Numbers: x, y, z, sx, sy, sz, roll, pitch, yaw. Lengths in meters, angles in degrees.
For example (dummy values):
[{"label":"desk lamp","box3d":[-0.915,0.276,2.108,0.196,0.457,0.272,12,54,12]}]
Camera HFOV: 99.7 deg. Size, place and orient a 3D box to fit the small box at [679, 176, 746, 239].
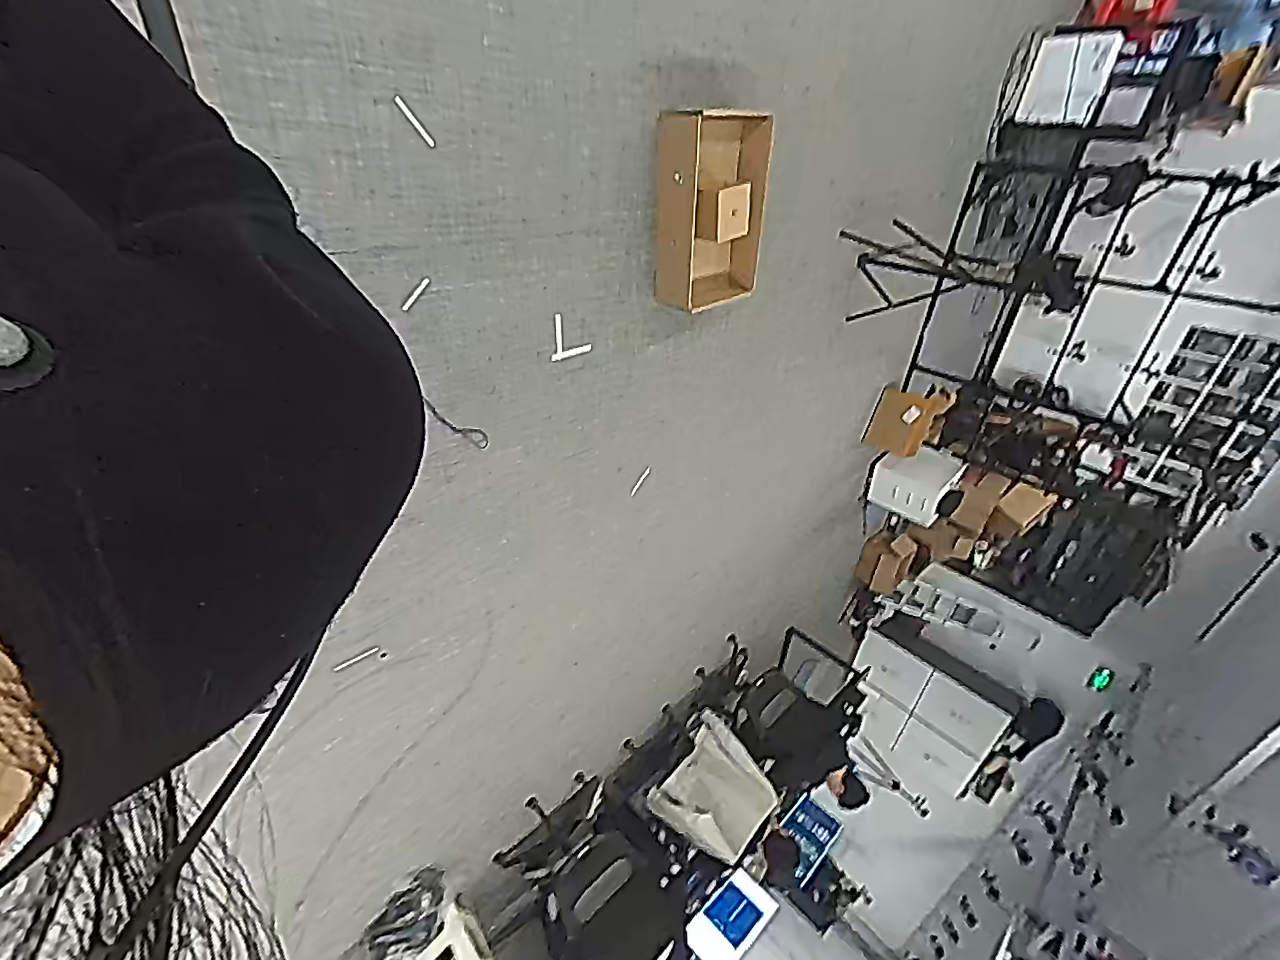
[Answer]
[{"label":"small box","box3d":[0.257,-0.977,1.931,0.179,0.176,0.168,-32,135,-30]}]
